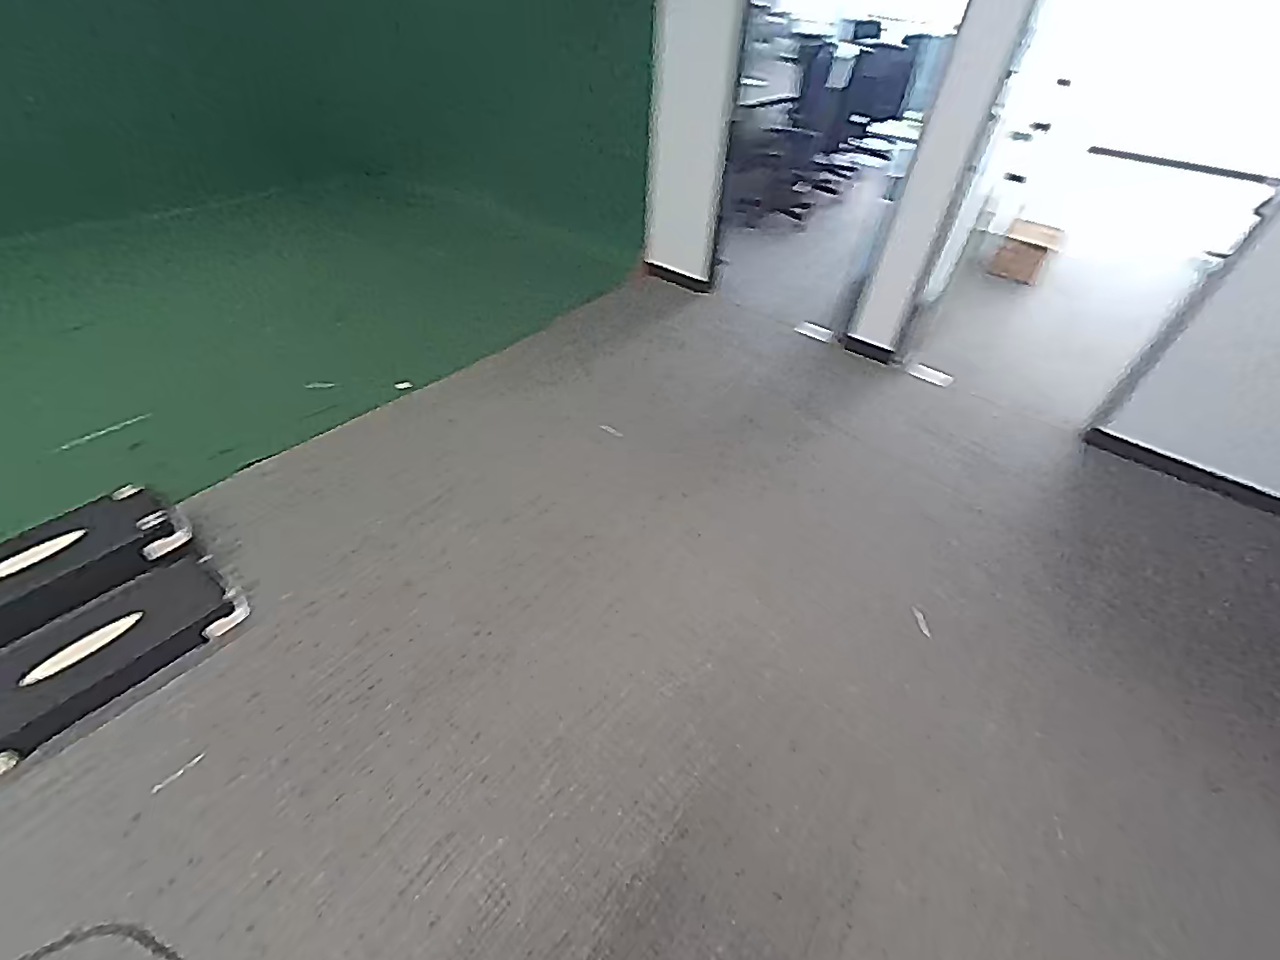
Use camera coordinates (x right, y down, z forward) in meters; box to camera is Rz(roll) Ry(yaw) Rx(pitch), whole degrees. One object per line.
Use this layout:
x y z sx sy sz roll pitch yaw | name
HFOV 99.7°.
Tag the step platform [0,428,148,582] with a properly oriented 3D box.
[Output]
-1.800 0.131 1.472 0.286 0.204 0.684 32 51 25 | step platform
